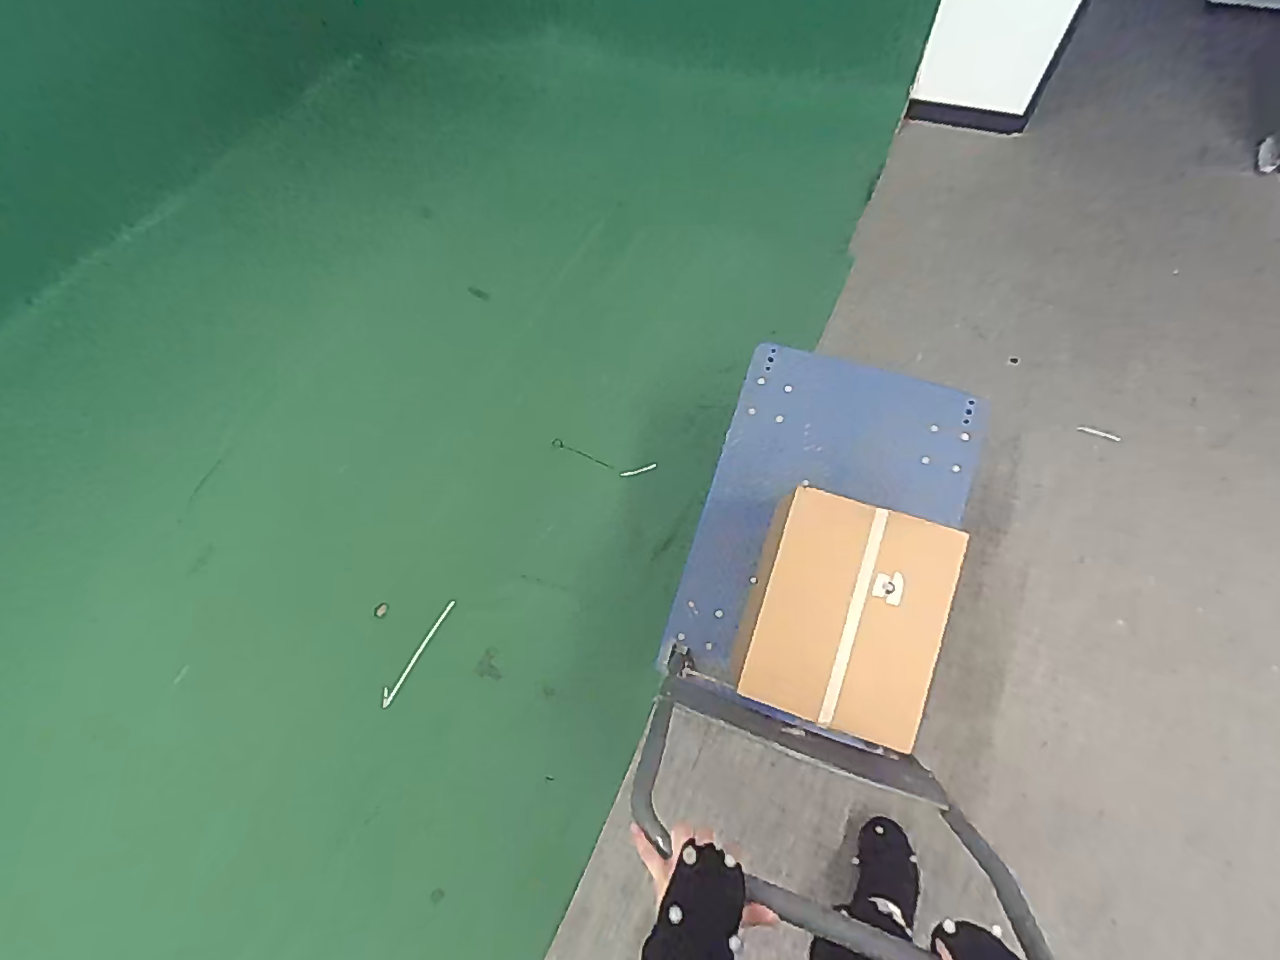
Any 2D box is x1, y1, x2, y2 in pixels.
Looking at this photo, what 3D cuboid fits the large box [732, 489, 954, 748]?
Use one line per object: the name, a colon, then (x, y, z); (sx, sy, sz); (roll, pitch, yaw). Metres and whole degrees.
large box: (0.396, 0.269, 1.143); (0.320, 0.320, 0.408); (18, 85, 9)
